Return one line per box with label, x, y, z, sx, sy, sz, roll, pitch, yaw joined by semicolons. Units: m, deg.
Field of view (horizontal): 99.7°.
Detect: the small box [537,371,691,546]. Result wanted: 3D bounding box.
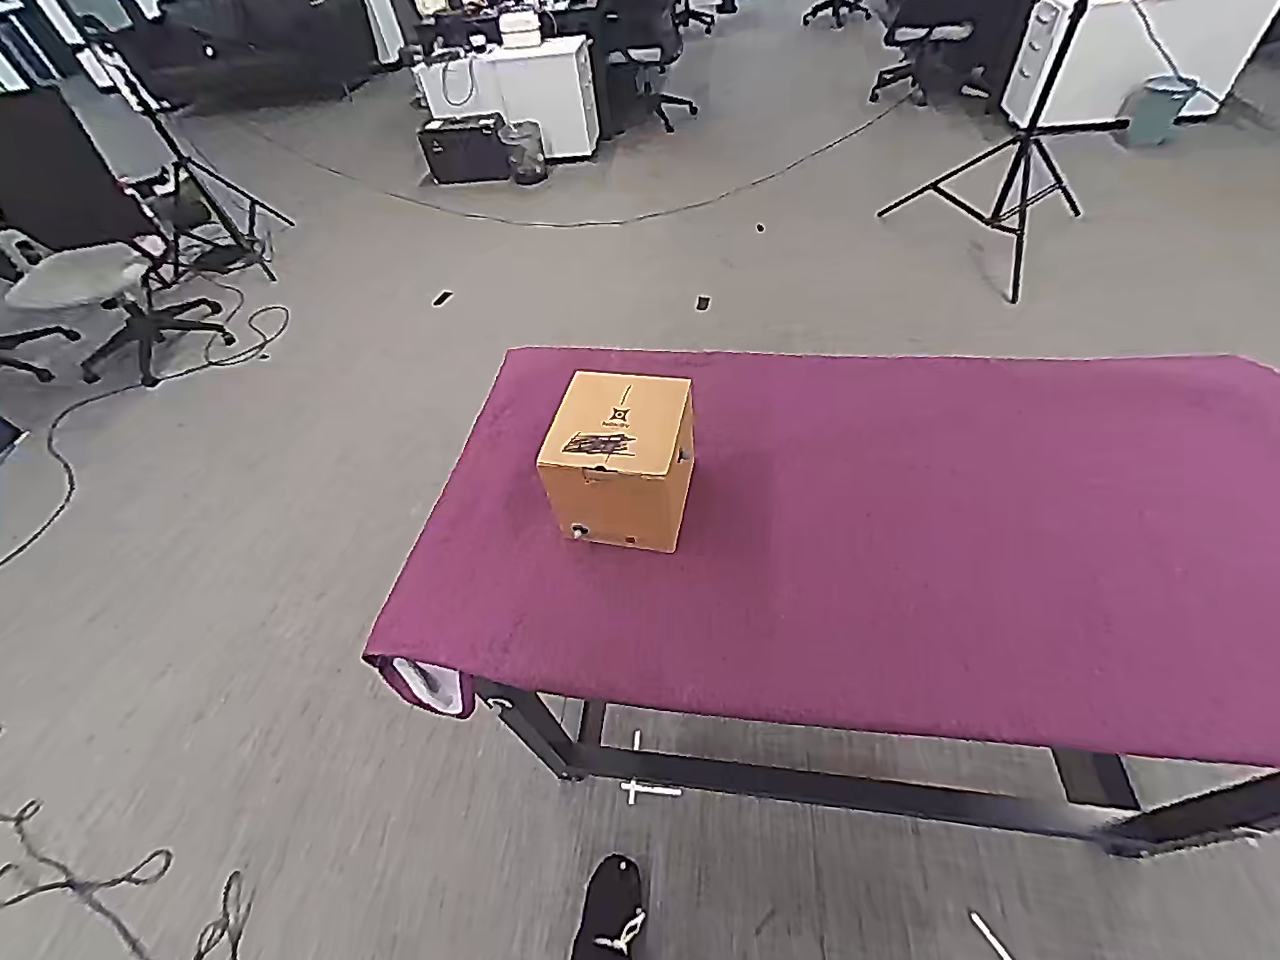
small box;-0.022;-0.028;0.757;0.168;0.176;0.179;7;51;12
